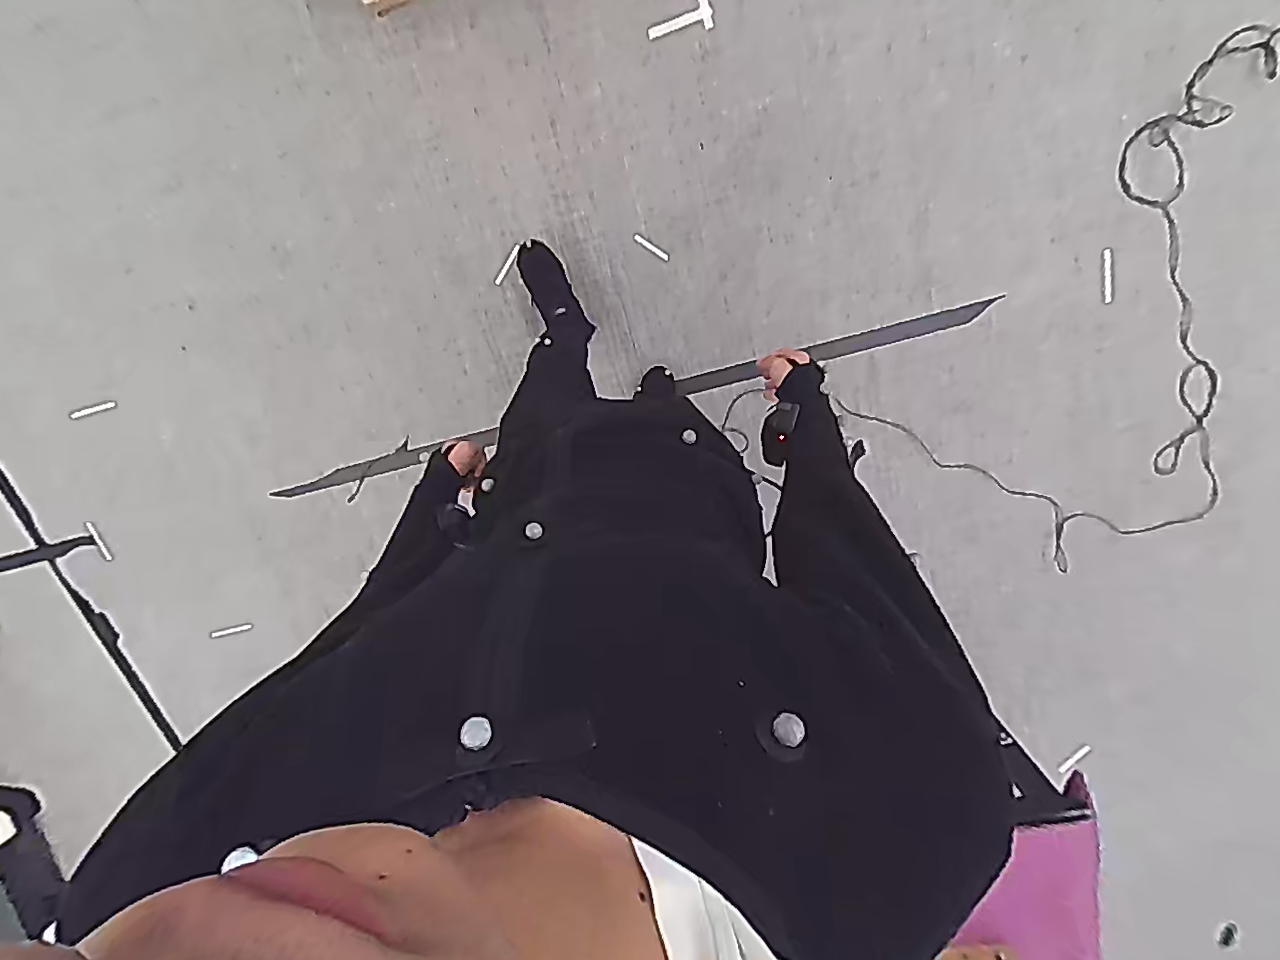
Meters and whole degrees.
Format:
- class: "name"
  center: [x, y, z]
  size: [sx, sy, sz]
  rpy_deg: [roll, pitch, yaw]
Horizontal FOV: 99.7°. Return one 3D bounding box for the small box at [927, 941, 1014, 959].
- class: "small box"
  center: [0.717, 1.101, 1.123]
  size: [0.168, 0.176, 0.179]
  rpy_deg: [-8, 107, 5]
